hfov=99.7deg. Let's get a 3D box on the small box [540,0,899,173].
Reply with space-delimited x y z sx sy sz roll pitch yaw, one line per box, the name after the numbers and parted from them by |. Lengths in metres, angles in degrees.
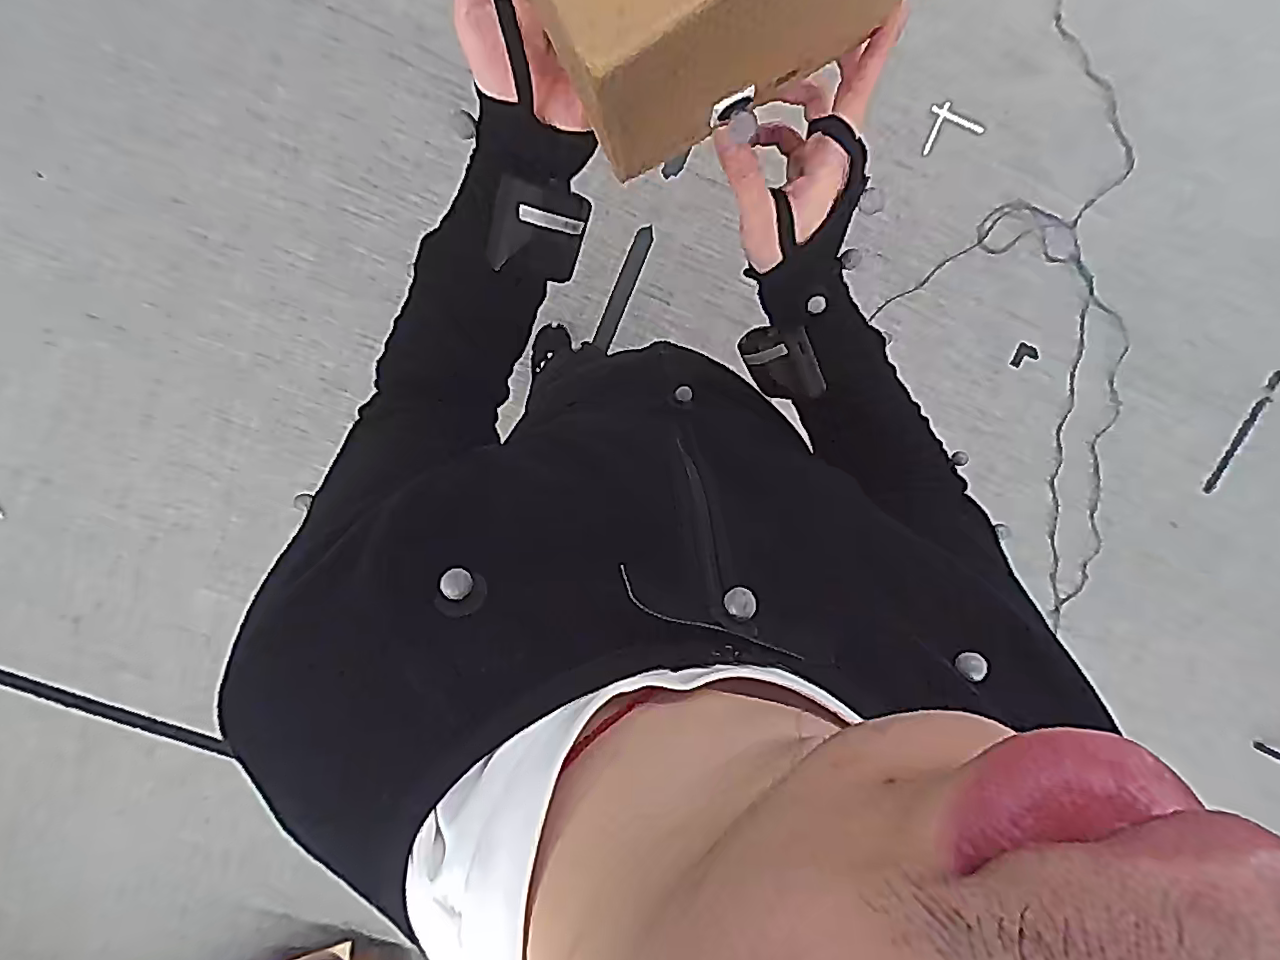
0.022 -0.271 0.230 0.168 0.176 0.179 -27 106 10 | small box
